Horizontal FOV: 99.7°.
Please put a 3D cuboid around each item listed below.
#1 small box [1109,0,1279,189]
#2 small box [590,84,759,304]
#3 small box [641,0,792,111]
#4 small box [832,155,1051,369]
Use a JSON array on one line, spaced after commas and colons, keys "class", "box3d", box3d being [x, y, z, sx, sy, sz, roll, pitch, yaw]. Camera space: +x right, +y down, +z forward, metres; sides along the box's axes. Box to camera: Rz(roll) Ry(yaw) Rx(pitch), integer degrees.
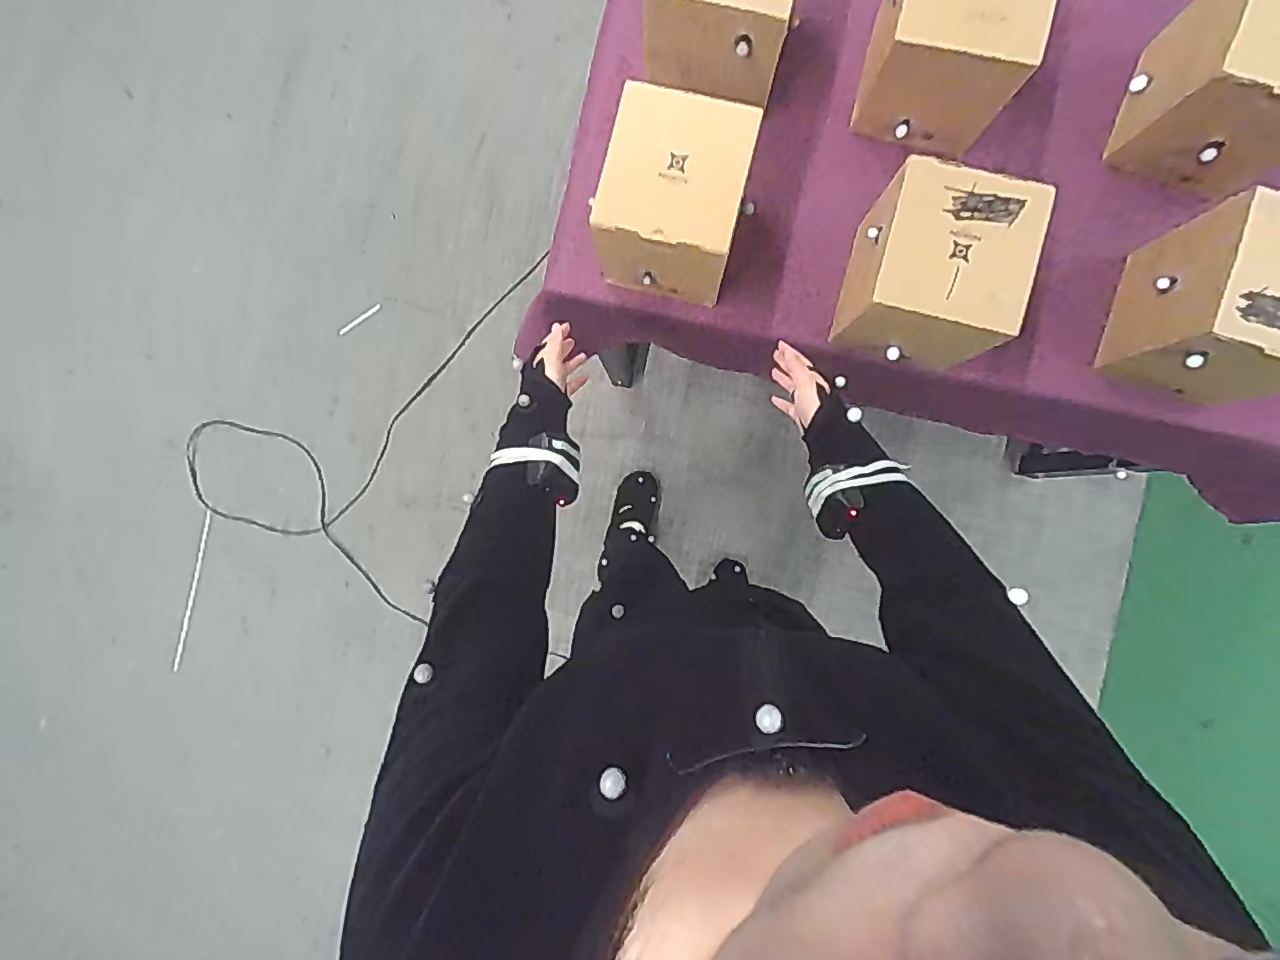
[{"class": "small box", "box3d": [0.738, -0.498, 0.664, 0.168, 0.176, 0.179, 20, 90, 3]}, {"class": "small box", "box3d": [0.043, -0.356, 0.704, 0.168, 0.176, 0.179, 14, 89, 3]}, {"class": "small box", "box3d": [0.107, -0.621, 0.707, 0.179, 0.176, 0.168, 14, 89, 4]}, {"class": "small box", "box3d": [0.359, -0.259, 0.679, 0.168, 0.176, 0.179, 15, 89, 4]}]
